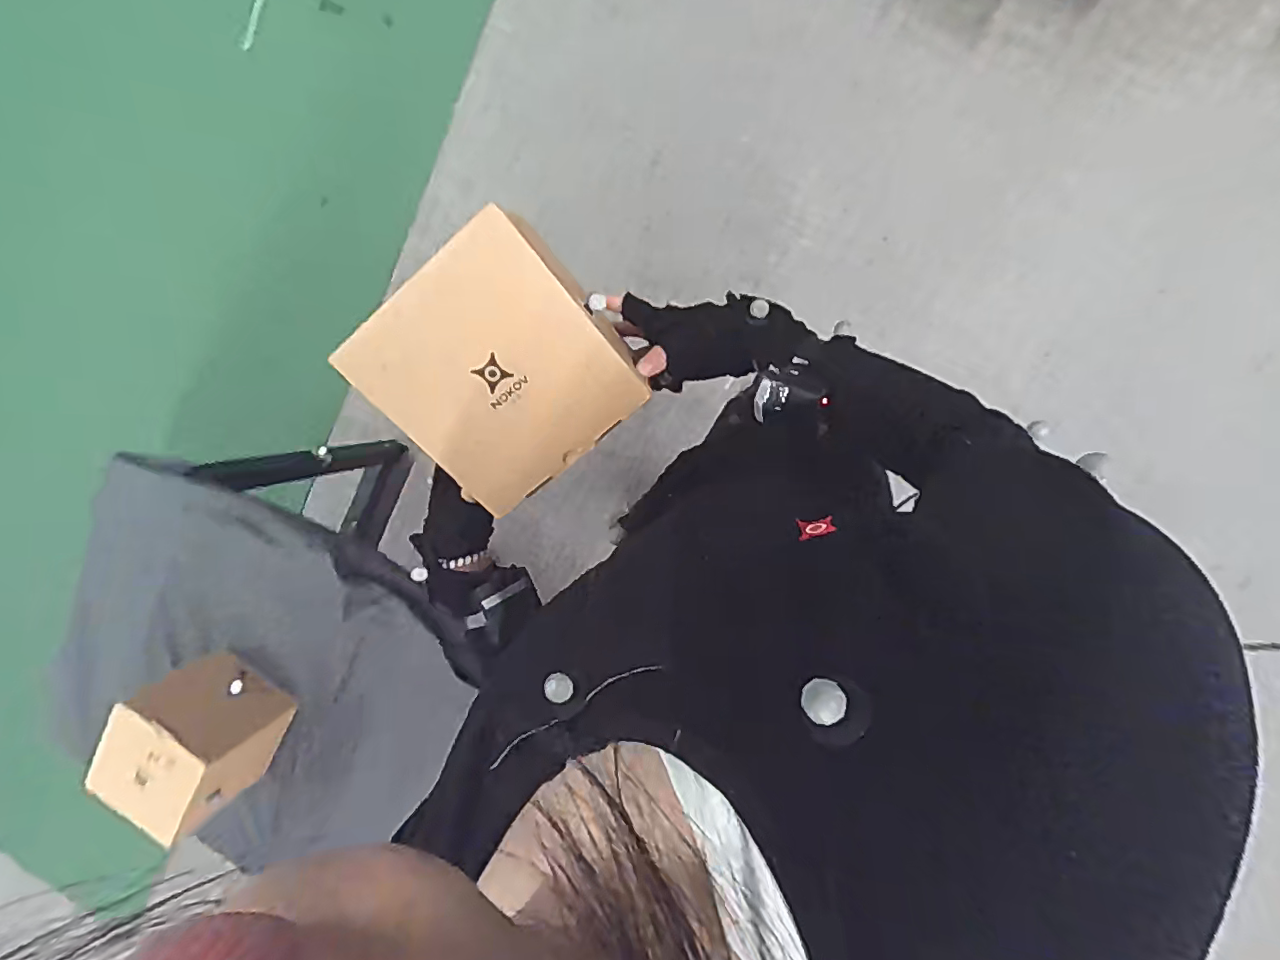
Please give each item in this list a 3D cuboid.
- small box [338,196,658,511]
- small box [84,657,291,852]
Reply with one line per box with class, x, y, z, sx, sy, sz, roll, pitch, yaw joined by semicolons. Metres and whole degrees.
small box;-0.109;-0.112;0.473;0.168;0.176;0.179;-37;113;10
small box;-0.703;0.422;0.858;0.168;0.176;0.179;32;103;4
